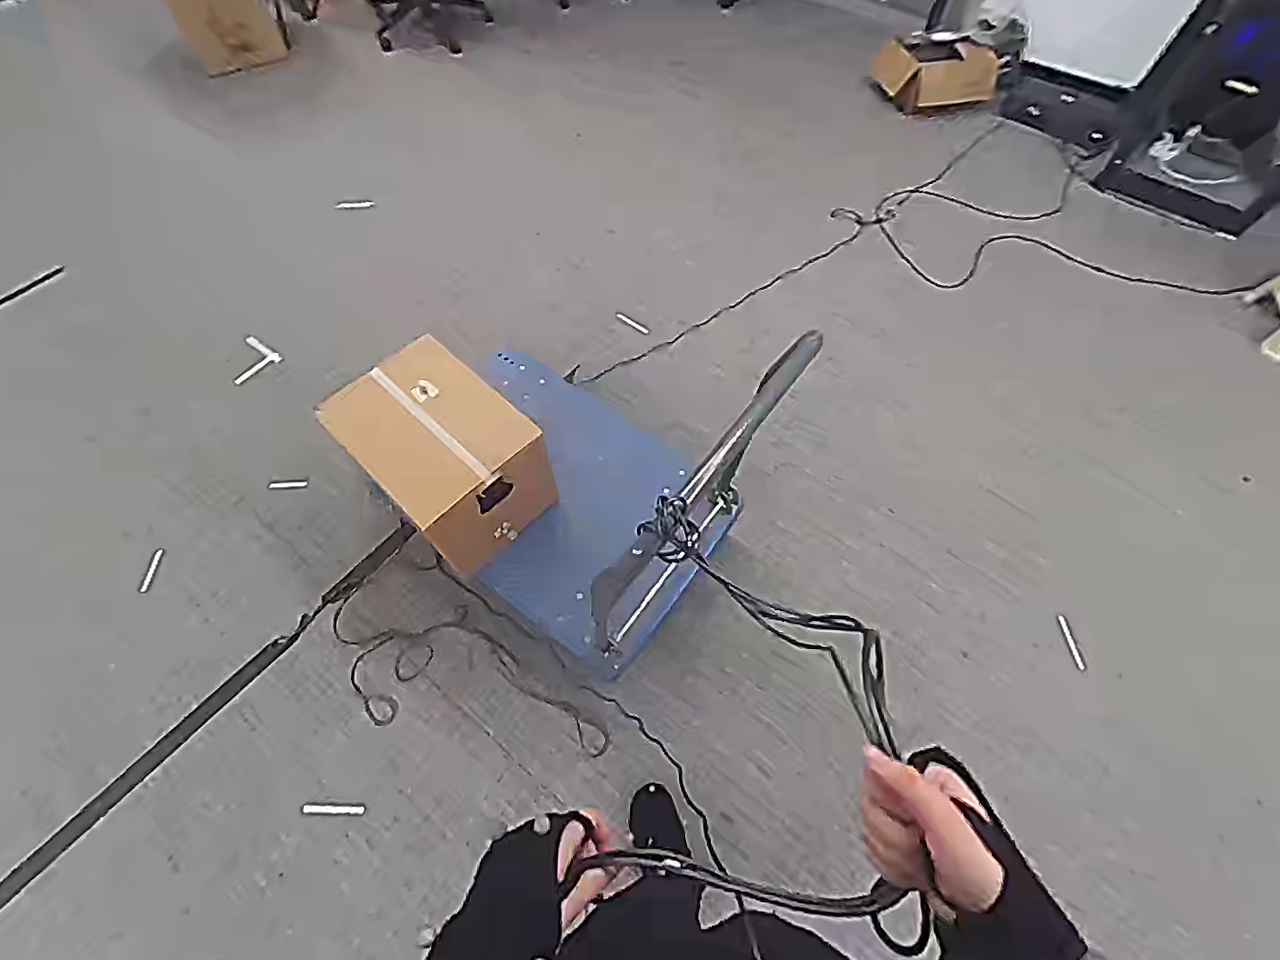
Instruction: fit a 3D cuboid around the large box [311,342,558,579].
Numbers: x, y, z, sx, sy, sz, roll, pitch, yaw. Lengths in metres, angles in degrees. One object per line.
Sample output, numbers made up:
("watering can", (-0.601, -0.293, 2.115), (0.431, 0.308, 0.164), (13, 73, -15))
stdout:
("large box", (-0.454, -0.039, 1.275), (0.408, 0.320, 0.320), (39, 67, 18))
